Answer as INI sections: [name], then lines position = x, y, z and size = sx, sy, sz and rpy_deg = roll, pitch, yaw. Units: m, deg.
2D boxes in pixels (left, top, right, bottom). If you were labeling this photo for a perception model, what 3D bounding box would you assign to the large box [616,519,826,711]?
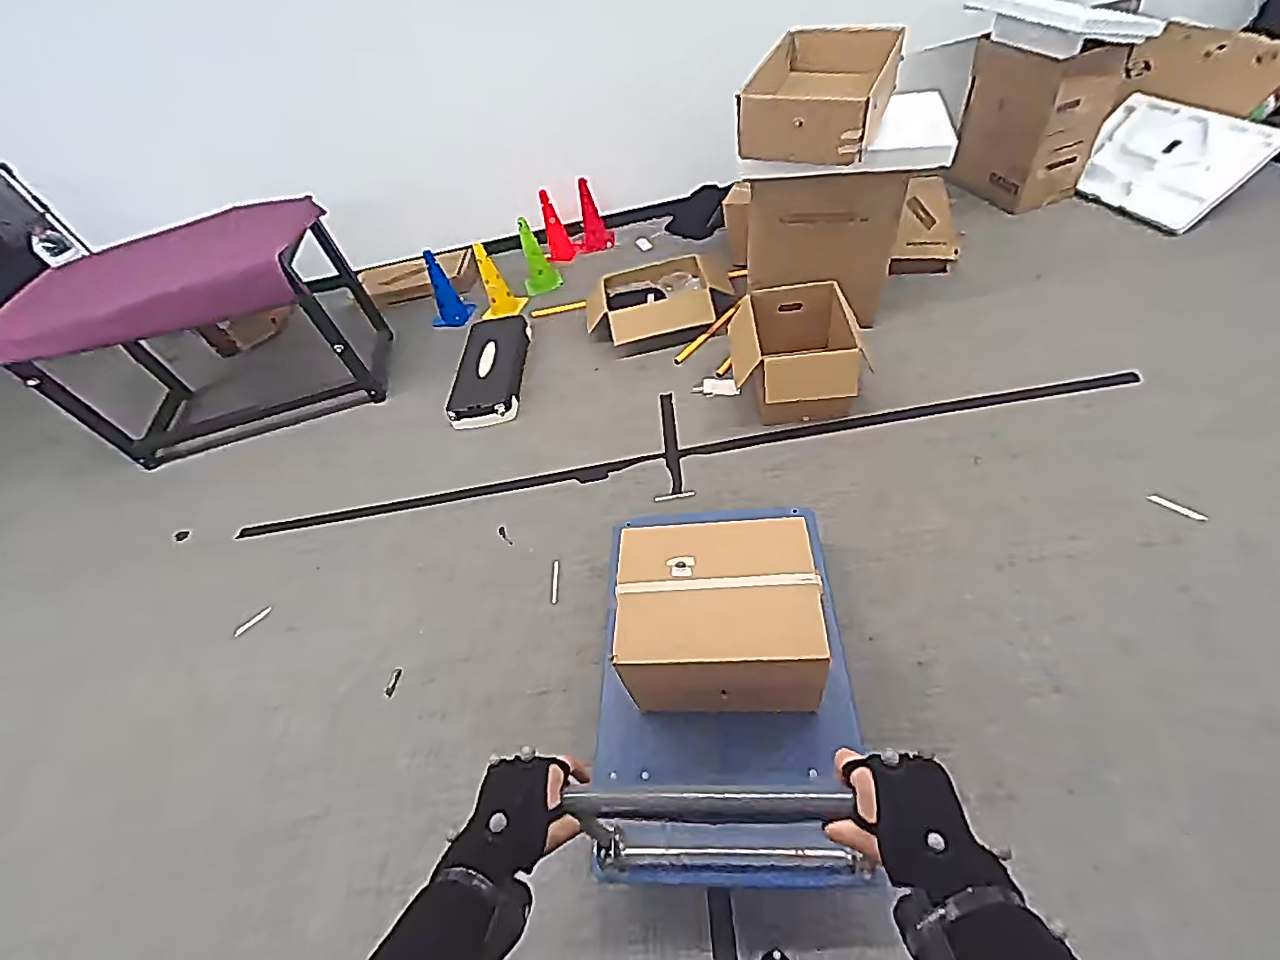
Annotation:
[large box]
position = 0.181, 0.318, 1.231
size = 0.408, 0.320, 0.320
rpy_deg = -6, 49, 10
